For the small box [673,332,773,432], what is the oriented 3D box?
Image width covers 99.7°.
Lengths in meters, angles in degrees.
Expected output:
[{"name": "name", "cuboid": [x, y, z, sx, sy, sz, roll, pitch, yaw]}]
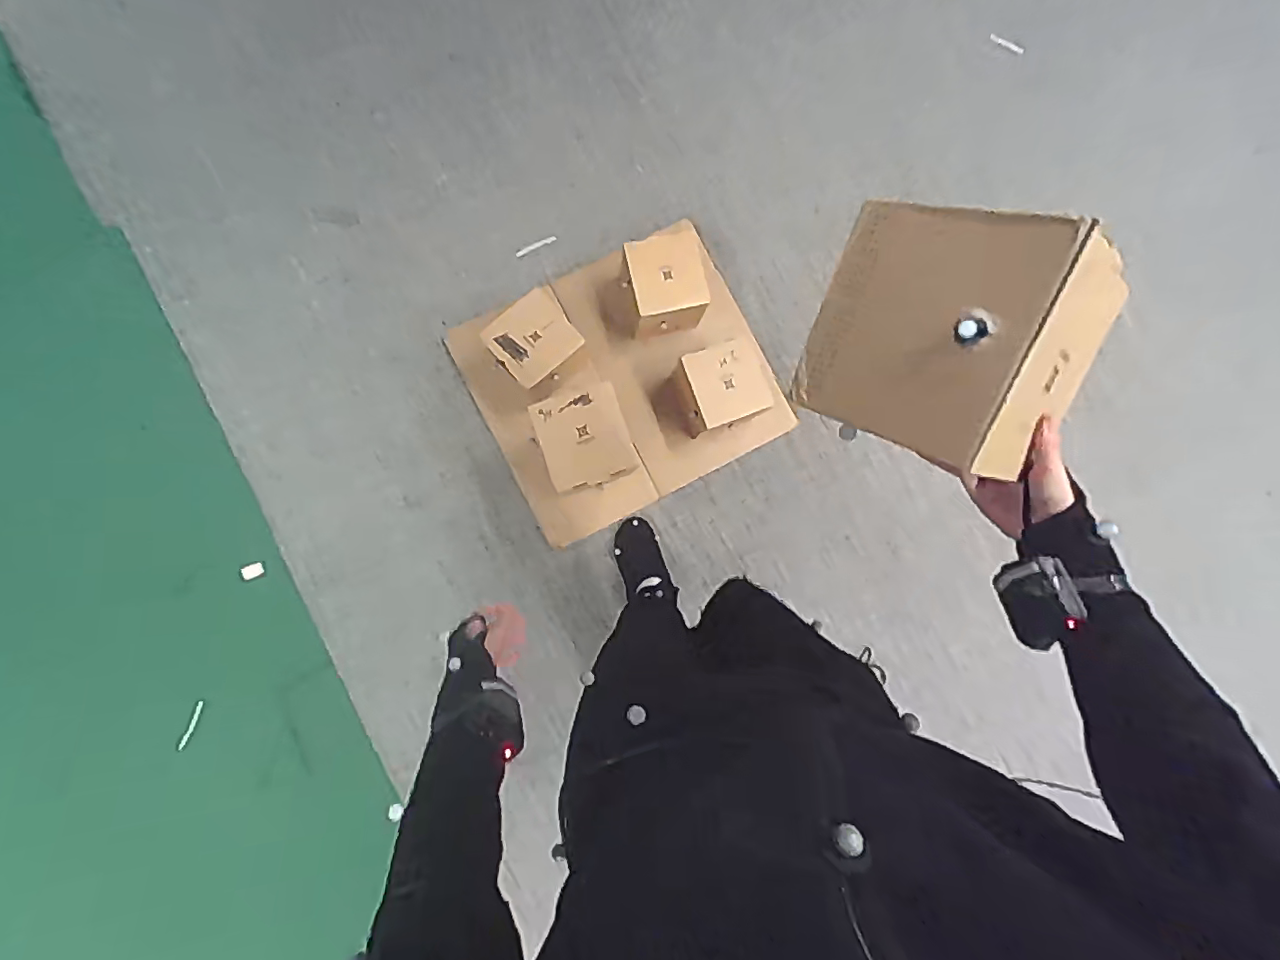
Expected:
[{"name": "small box", "cuboid": [0.189, -0.220, 1.275, 0.168, 0.176, 0.179, -20, 88, -6]}]

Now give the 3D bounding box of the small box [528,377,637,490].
[{"name": "small box", "cuboid": [-0.111, -0.085, 1.086, 0.168, 0.176, 0.179, -18, 88, -6]}]

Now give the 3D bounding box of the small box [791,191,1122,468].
[{"name": "small box", "cuboid": [0.260, -0.127, 0.464, 0.168, 0.176, 0.179, 5, 112, -43]}]

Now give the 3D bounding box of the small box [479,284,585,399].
[{"name": "small box", "cuboid": [-0.240, -0.311, 1.257, 0.179, 0.176, 0.168, -41, 90, -6]}]
